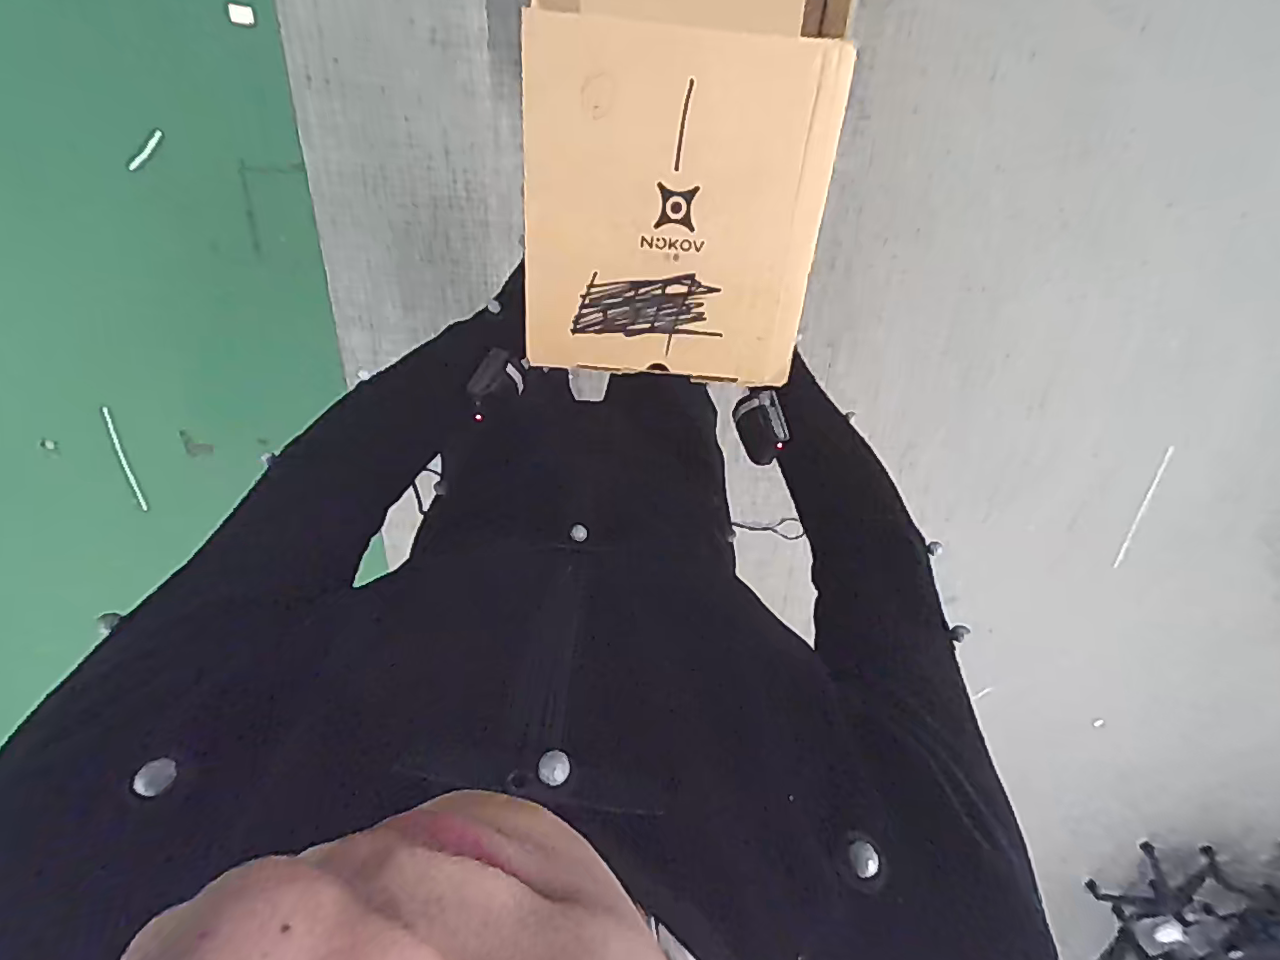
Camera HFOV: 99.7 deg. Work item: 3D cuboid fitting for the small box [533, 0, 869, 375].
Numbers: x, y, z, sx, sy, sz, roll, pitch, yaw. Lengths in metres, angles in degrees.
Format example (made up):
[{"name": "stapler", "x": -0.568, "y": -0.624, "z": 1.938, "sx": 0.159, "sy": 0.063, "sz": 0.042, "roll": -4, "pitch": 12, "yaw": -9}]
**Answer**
[{"name": "small box", "x": 0.024, "y": -0.187, "z": 0.367, "sx": 0.168, "sy": 0.176, "sz": 0.179, "roll": 4, "pitch": 119, "yaw": -3}]
